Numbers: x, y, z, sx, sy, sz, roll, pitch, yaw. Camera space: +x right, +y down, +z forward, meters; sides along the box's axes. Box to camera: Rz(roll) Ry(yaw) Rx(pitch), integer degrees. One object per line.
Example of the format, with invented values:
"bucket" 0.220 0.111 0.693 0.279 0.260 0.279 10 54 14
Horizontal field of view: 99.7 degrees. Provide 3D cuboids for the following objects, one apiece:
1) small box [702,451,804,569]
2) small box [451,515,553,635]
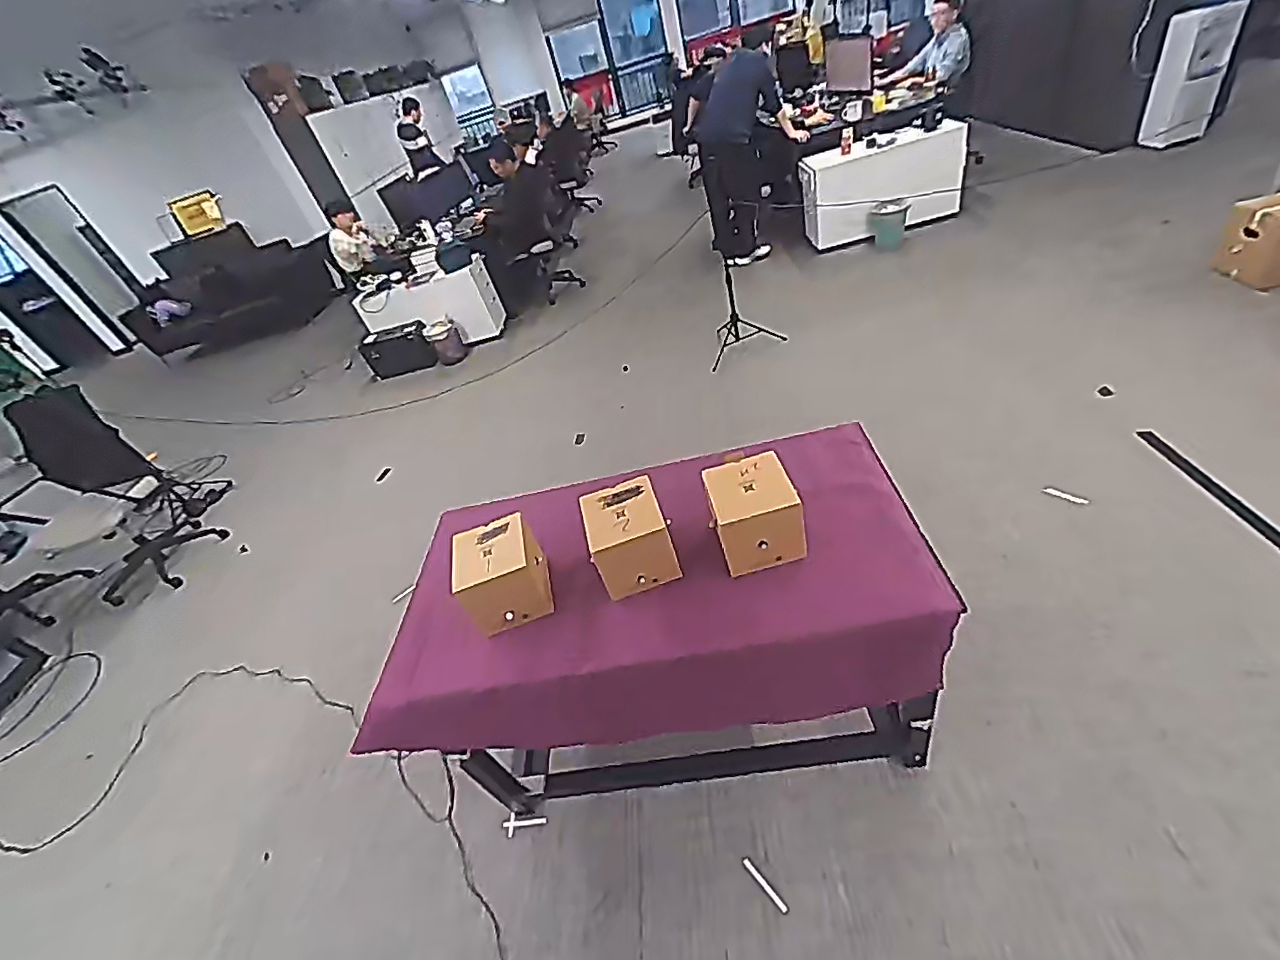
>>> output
"small box" 0.243 0.070 1.160 0.168 0.176 0.179 -16 38 4
"small box" -0.308 0.215 1.222 0.168 0.176 0.179 -21 39 -1
